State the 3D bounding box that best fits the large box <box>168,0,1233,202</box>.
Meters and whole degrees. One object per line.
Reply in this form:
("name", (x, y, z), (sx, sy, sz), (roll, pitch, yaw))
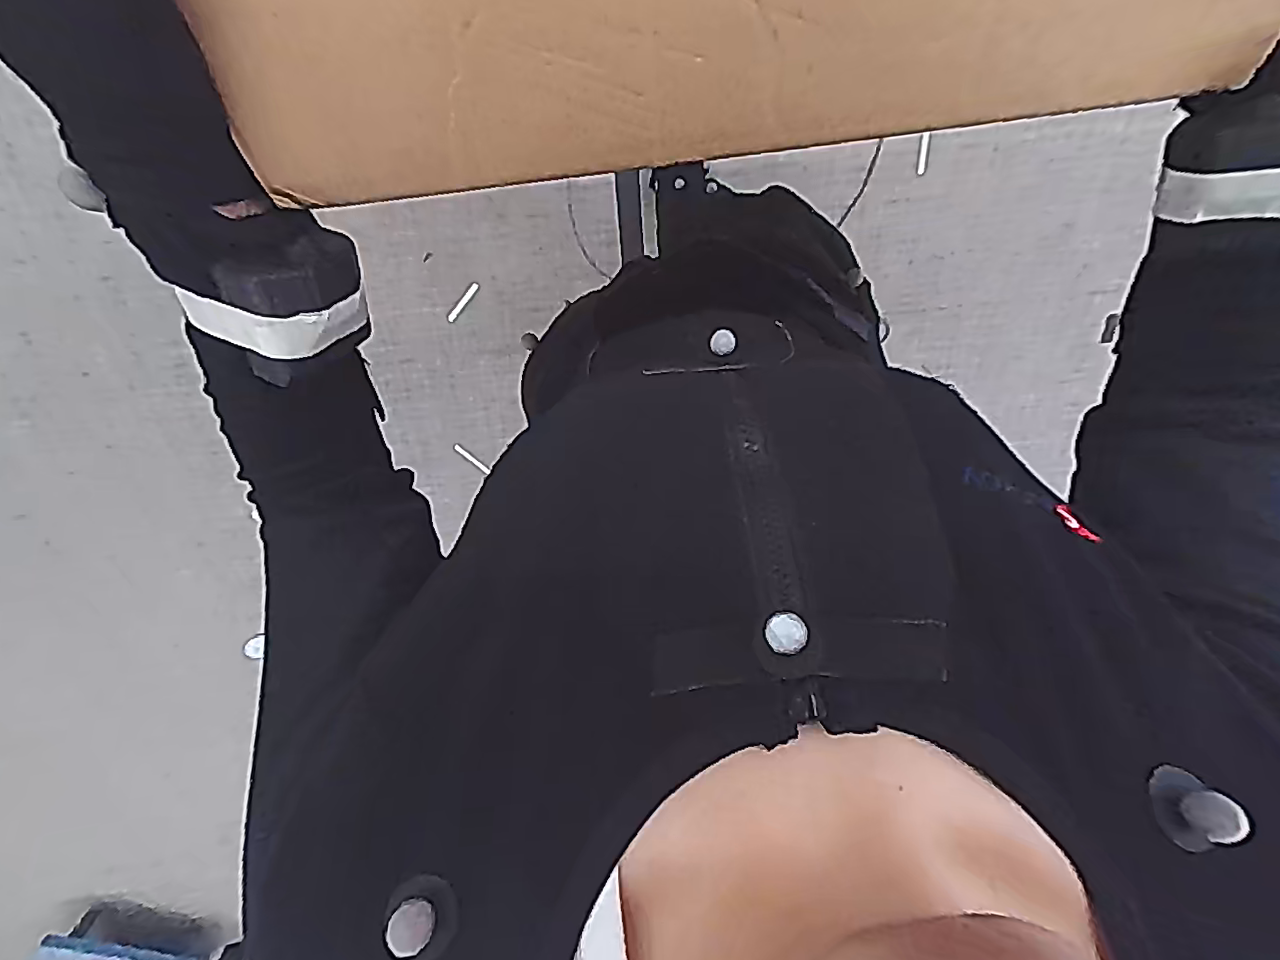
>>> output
("large box", (0.015, -0.358, 0.213), (0.408, 0.320, 0.320), (-6, 140, 1))
